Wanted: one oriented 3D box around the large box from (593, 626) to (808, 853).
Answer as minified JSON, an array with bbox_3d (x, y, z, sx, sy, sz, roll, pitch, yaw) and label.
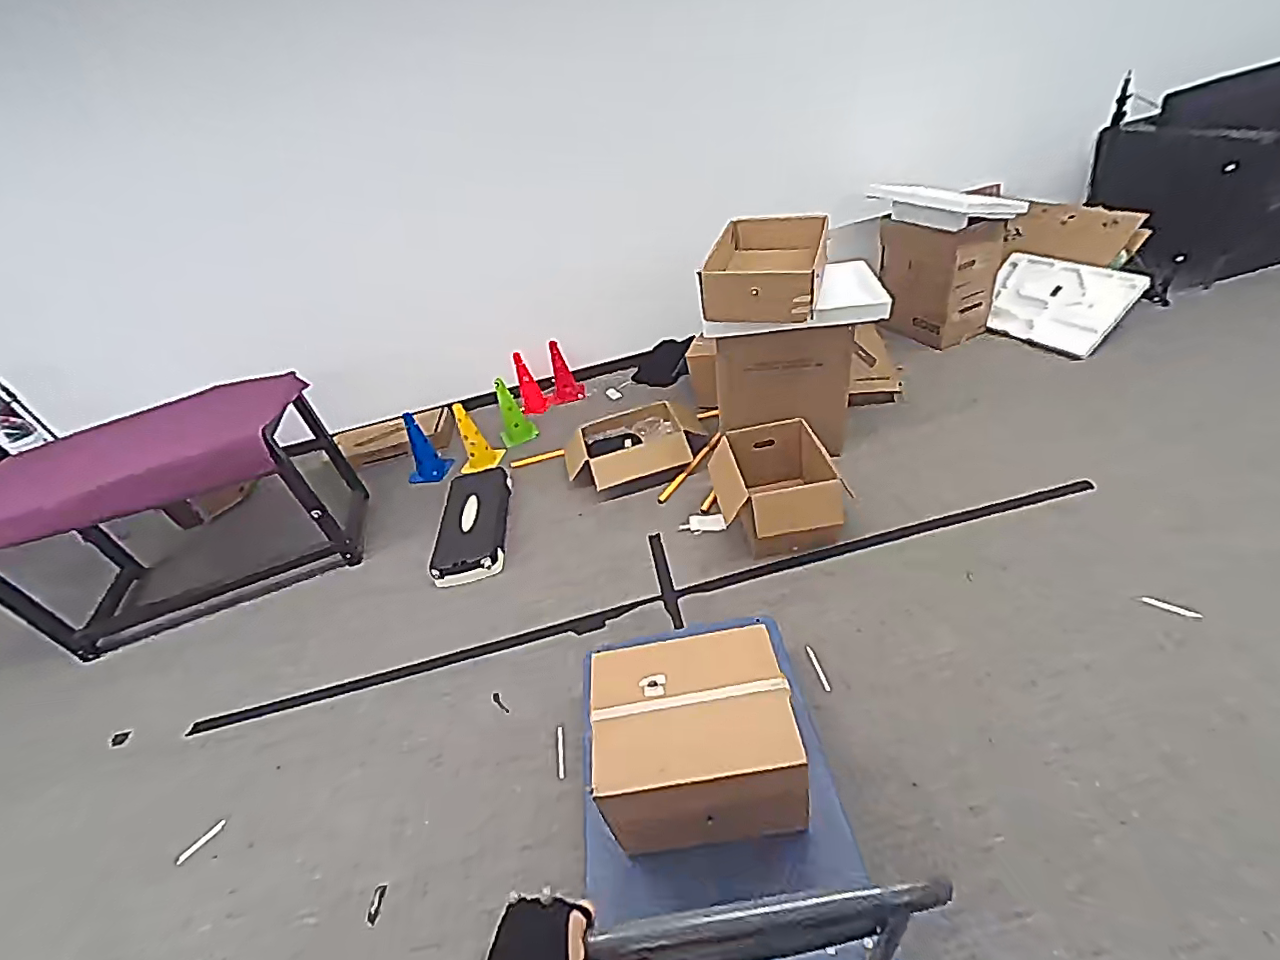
[{"bbox_3d":[0.129,0.580,1.211,0.408,0.320,0.320,-12,36,4],"label":"large box"}]
